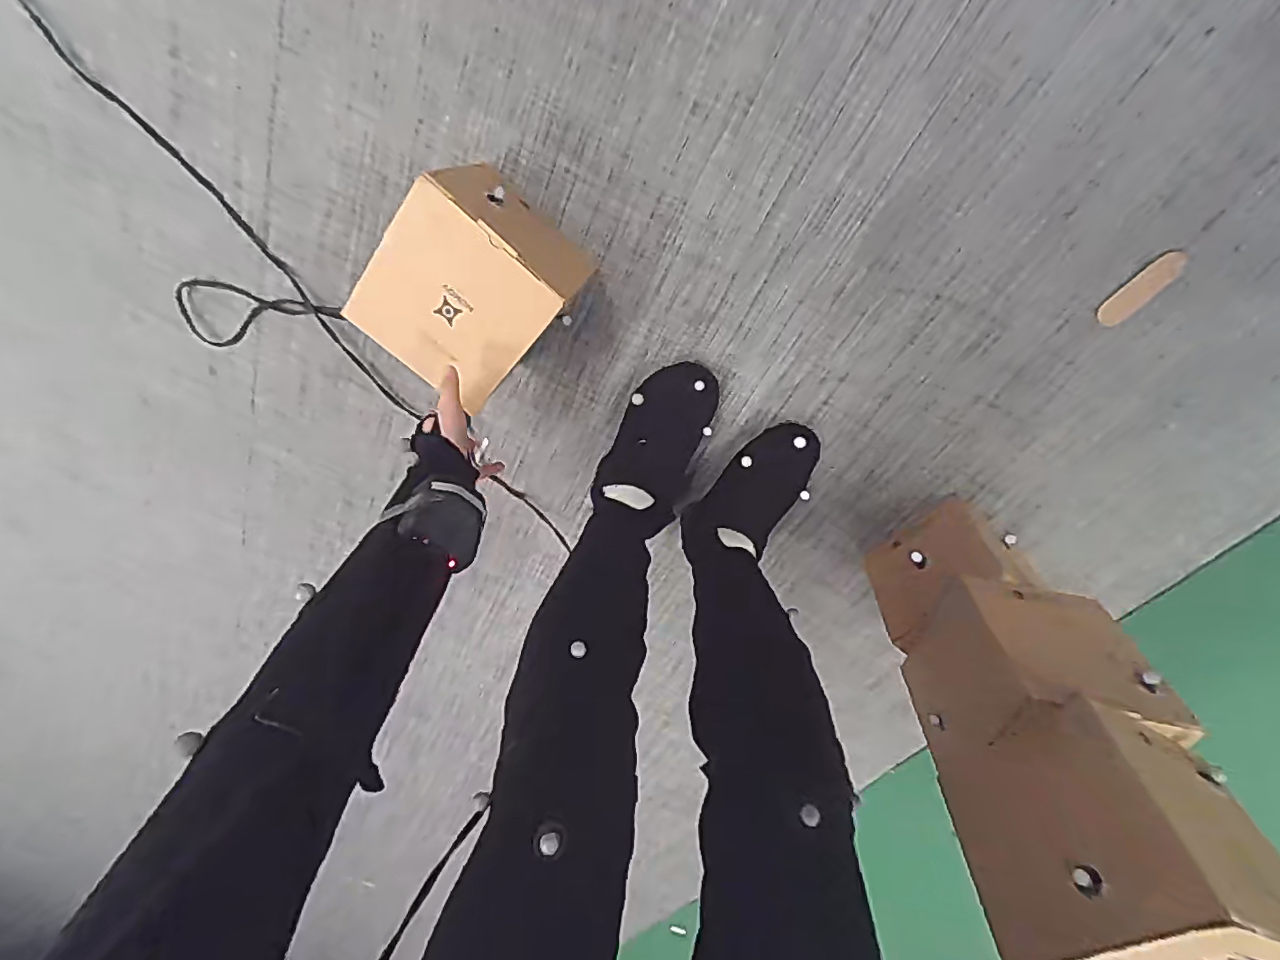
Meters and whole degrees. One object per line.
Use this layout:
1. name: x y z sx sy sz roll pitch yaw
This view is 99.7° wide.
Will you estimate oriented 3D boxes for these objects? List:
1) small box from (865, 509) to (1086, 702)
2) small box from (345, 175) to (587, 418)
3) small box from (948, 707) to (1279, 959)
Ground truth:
1. small box: 0.447 0.164 0.754 0.179 0.176 0.168 36 120 -14
2. small box: -0.176 -0.209 0.600 0.168 0.176 0.179 41 119 -16
3. small box: 0.415 0.333 0.473 0.168 0.176 0.179 28 123 -11
